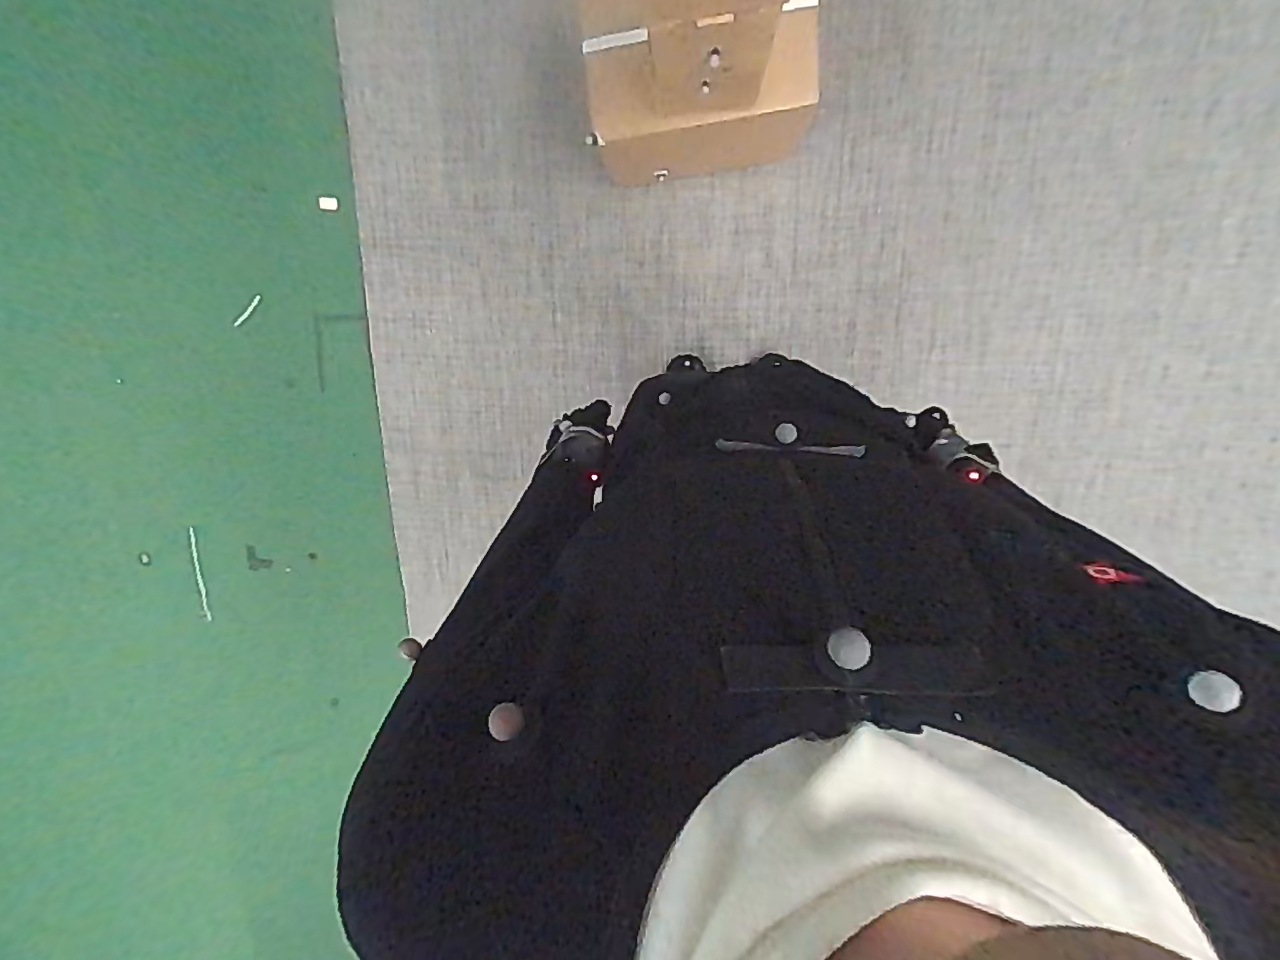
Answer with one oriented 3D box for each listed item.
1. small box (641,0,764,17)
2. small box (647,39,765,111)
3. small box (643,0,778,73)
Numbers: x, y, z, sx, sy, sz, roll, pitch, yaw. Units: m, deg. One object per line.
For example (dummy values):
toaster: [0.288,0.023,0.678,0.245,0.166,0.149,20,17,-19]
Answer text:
small box: [0.076,-0.619,0.549,0.179,0.176,0.168,-2,105,8]
small box: [0.102,-0.715,0.862,0.179,0.176,0.168,-2,106,5]
small box: [0.088,-0.666,0.707,0.168,0.176,0.179,-4,106,7]
